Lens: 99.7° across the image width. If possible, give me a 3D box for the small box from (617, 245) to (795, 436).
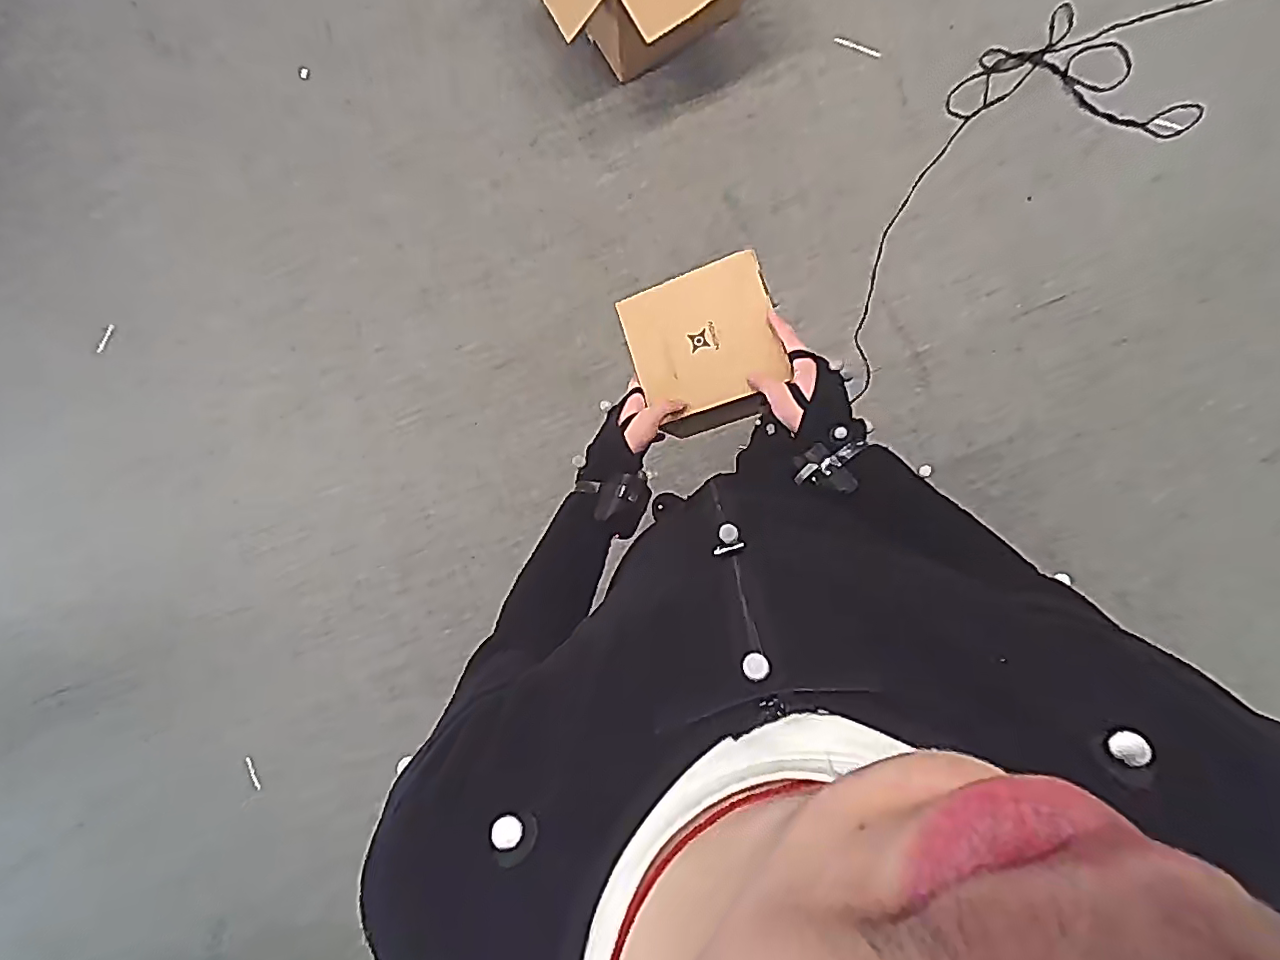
[{"bbox_3d":[0.092,-0.165,0.700,0.179,0.176,0.168,-16,83,15],"label":"small box"}]
